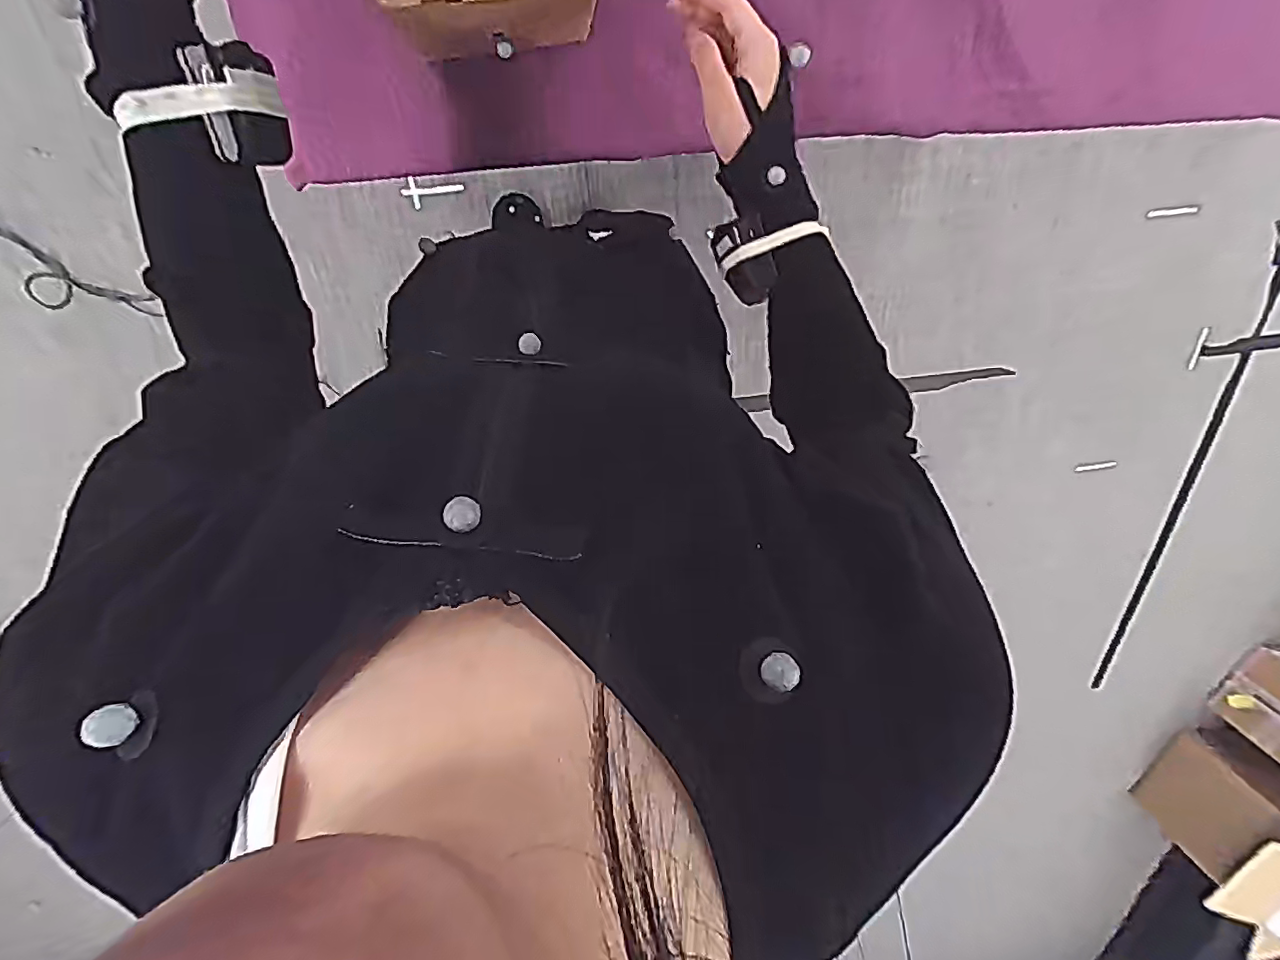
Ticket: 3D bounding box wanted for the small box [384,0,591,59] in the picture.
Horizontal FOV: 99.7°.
[{"bbox_3d":[-0.136,-0.475,0.436,0.168,0.176,0.179,-10,118,-4],"label":"small box"}]
